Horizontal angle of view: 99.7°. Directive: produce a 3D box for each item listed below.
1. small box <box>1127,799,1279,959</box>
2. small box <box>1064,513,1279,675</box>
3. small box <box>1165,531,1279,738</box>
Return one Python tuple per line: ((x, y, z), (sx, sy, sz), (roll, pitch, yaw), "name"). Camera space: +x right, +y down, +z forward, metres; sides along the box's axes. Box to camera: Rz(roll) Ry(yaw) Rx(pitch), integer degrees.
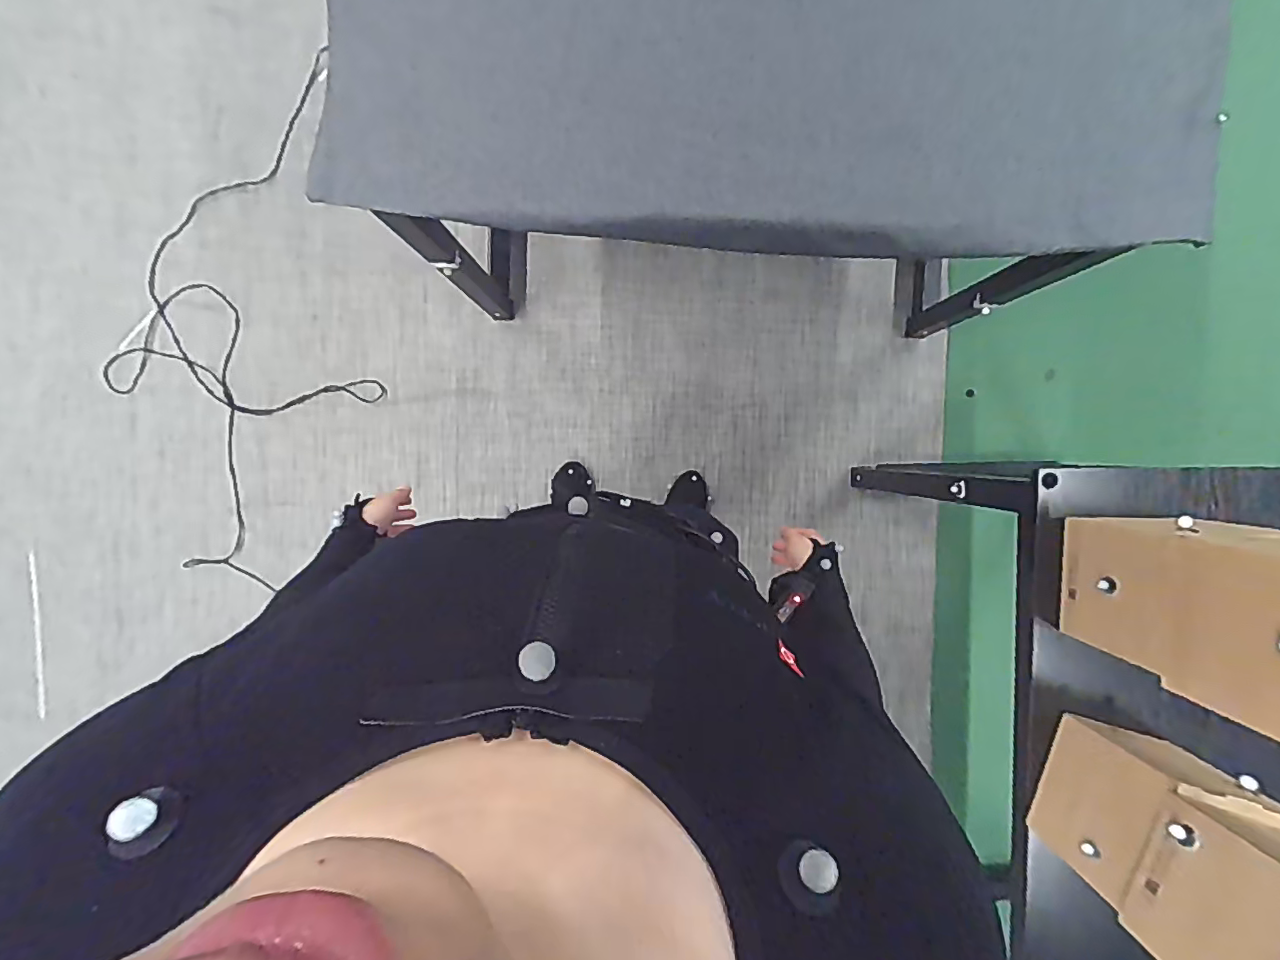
((0.649, 0.455, 0.531), (0.179, 0.176, 0.168), (18, 94, -1), "small box")
((0.678, 0.135, 0.676), (0.179, 0.176, 0.168), (0, 94, 1), "small box")
((0.660, 0.150, 0.515), (0.168, 0.176, 0.179), (0, 93, 1), "small box")
